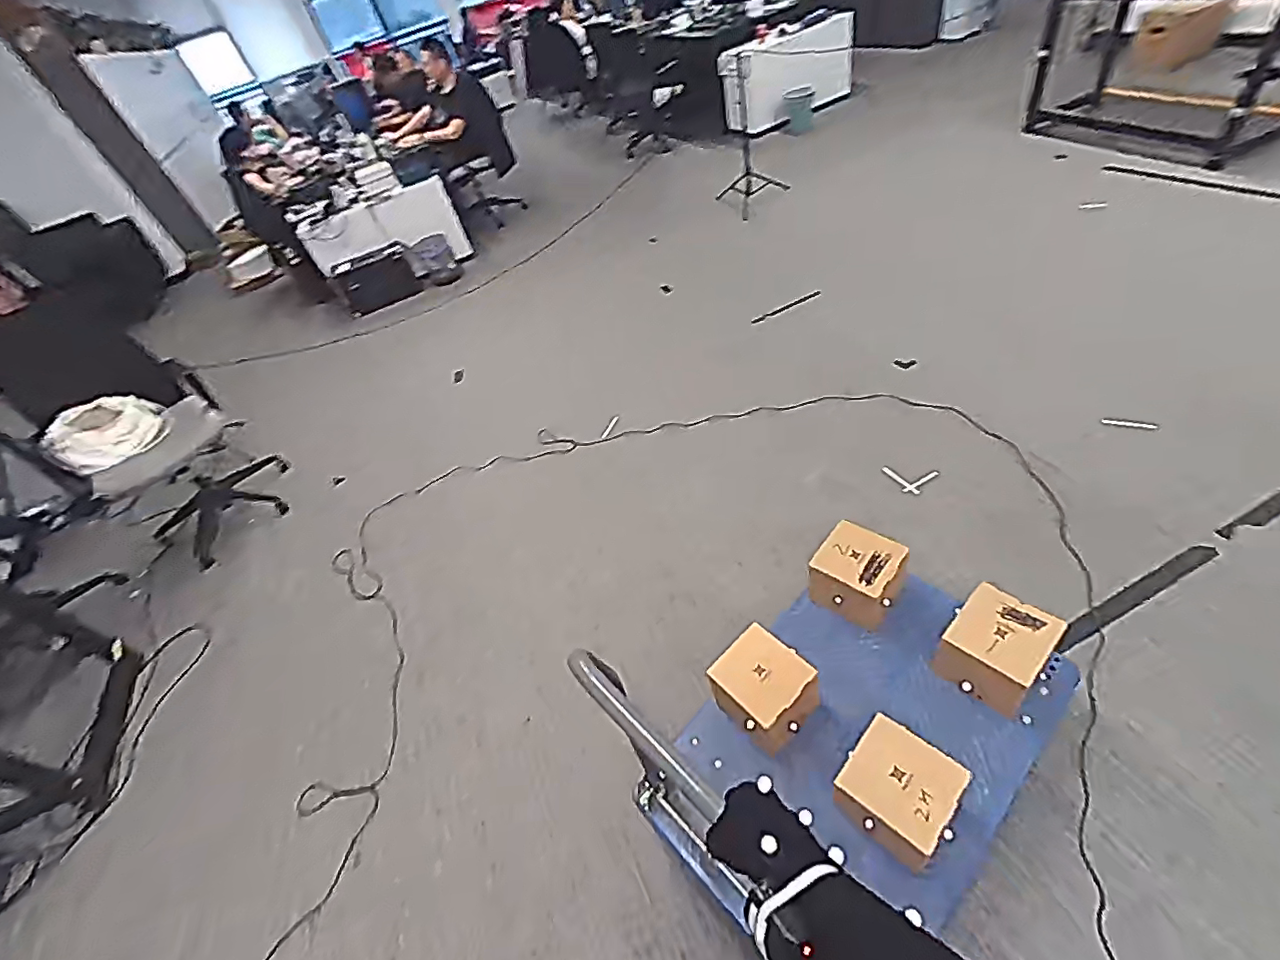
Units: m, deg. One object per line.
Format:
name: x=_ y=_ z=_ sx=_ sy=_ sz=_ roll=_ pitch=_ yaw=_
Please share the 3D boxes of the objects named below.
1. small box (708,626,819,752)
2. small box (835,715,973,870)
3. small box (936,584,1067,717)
small box: x=0.277 y=0.471 z=1.213 sx=0.168 sy=0.176 sz=0.179 roll=-39 pitch=49 yaw=-20
small box: x=0.489 y=0.592 z=1.022 sx=0.179 sy=0.176 sz=0.168 roll=28 pitch=61 yaw=37
small box: x=0.758 y=0.364 z=1.154 sx=0.179 sy=0.176 sz=0.168 roll=-41 pitch=48 yaw=-20
